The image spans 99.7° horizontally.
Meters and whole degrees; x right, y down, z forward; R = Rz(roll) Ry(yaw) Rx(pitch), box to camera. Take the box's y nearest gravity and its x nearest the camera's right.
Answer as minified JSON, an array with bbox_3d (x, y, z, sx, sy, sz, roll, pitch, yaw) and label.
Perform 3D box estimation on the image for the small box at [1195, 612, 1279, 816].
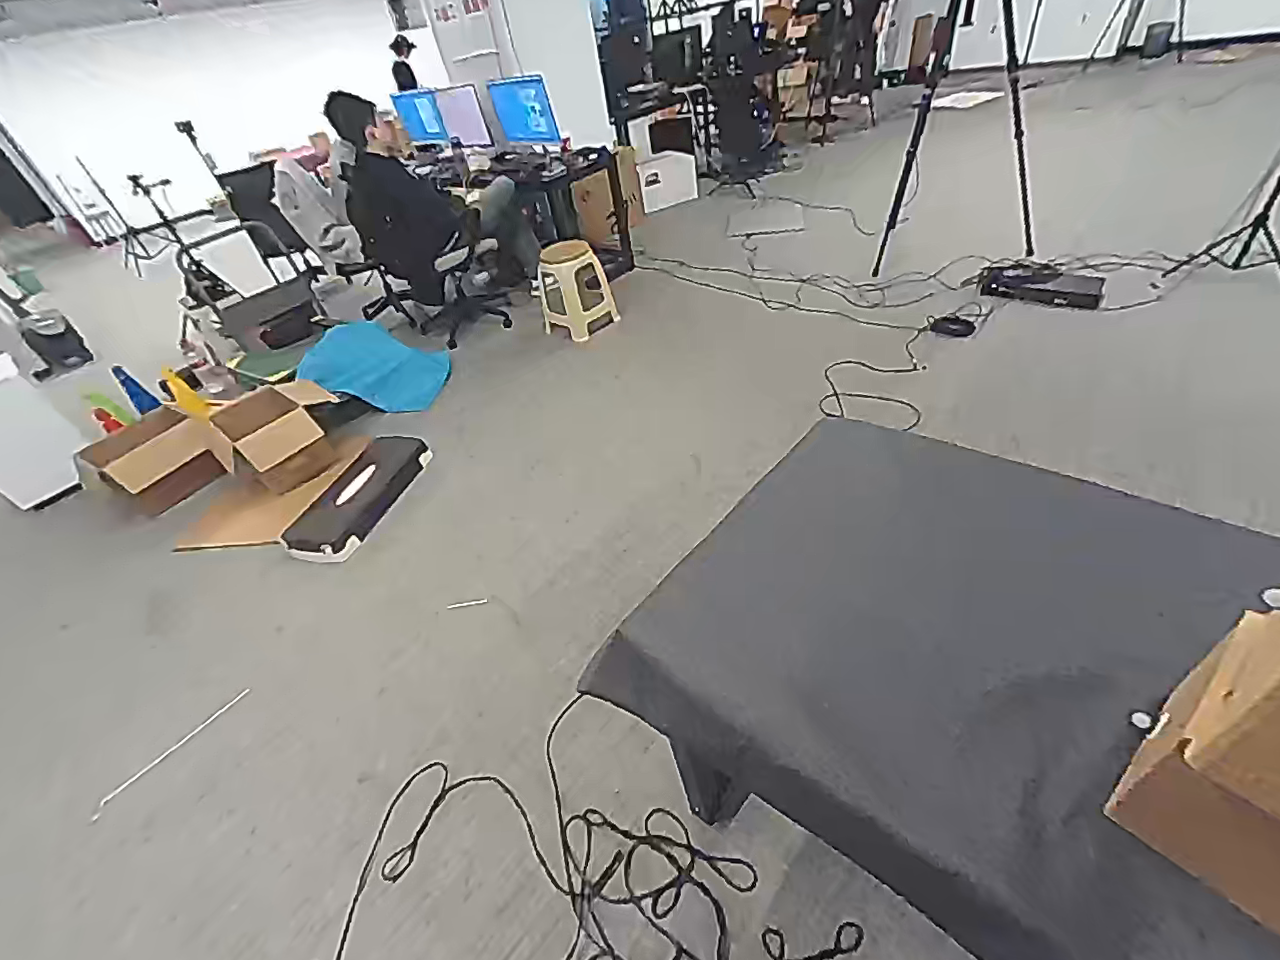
[{"bbox_3d":[0.508,0.147,0.328,0.168,0.176,0.179,-32,44,-23],"label":"small box"}]

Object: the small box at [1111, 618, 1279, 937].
[{"bbox_3d":[0.548,0.257,0.443,0.168,0.176,0.179,-33,43,-24],"label":"small box"}]
